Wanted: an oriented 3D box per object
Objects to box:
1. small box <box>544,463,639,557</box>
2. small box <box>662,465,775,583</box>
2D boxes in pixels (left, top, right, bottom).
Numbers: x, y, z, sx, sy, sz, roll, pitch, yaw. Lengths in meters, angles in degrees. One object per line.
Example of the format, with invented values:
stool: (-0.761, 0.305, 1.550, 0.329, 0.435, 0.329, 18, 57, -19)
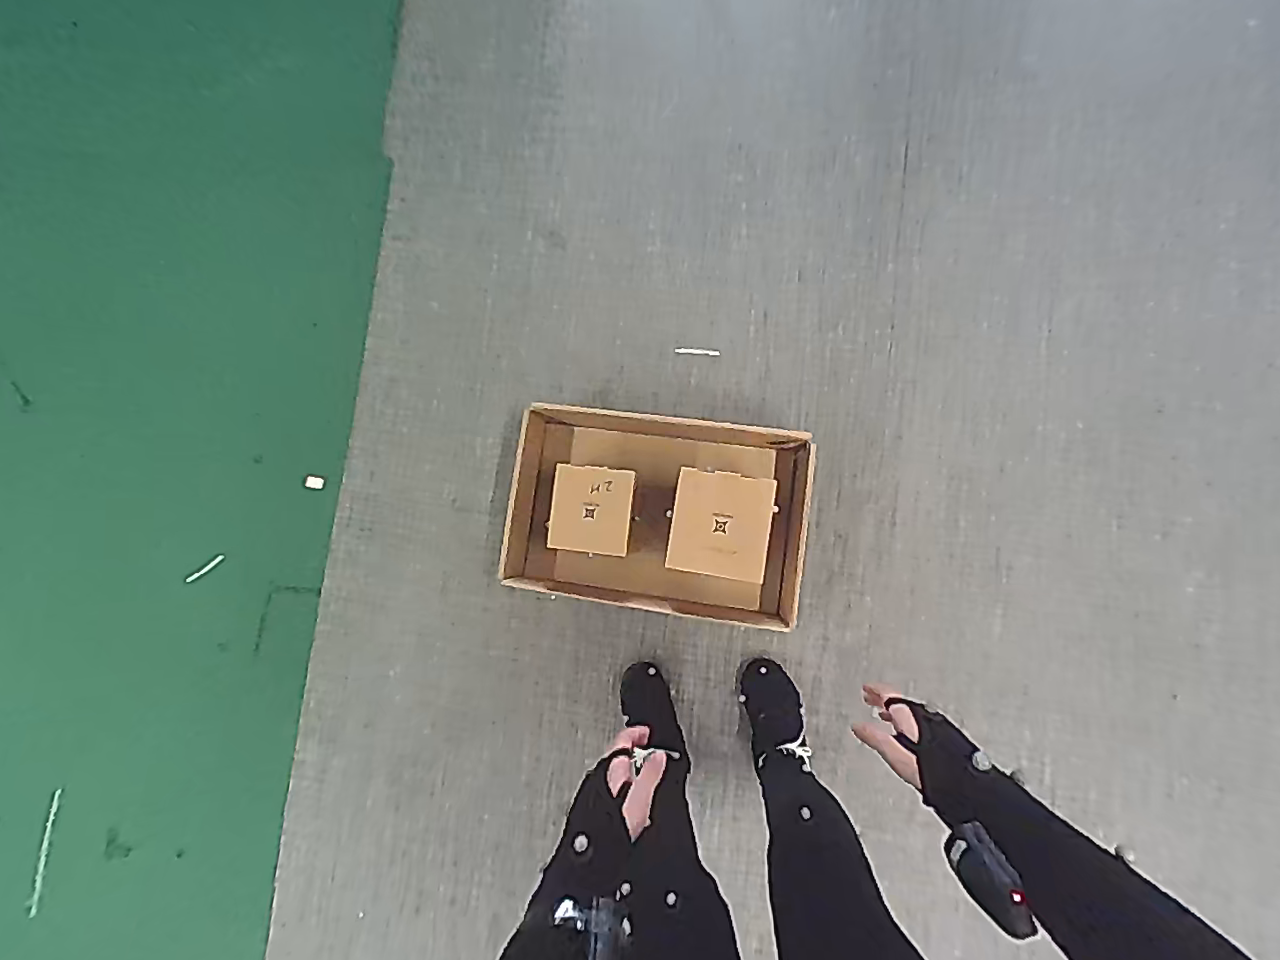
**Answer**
small box: (-0.096, 0.067, 1.169, 0.168, 0.176, 0.179, 6, 85, 6)
small box: (0.140, 0.081, 0.978, 0.168, 0.176, 0.179, 9, 85, 9)
